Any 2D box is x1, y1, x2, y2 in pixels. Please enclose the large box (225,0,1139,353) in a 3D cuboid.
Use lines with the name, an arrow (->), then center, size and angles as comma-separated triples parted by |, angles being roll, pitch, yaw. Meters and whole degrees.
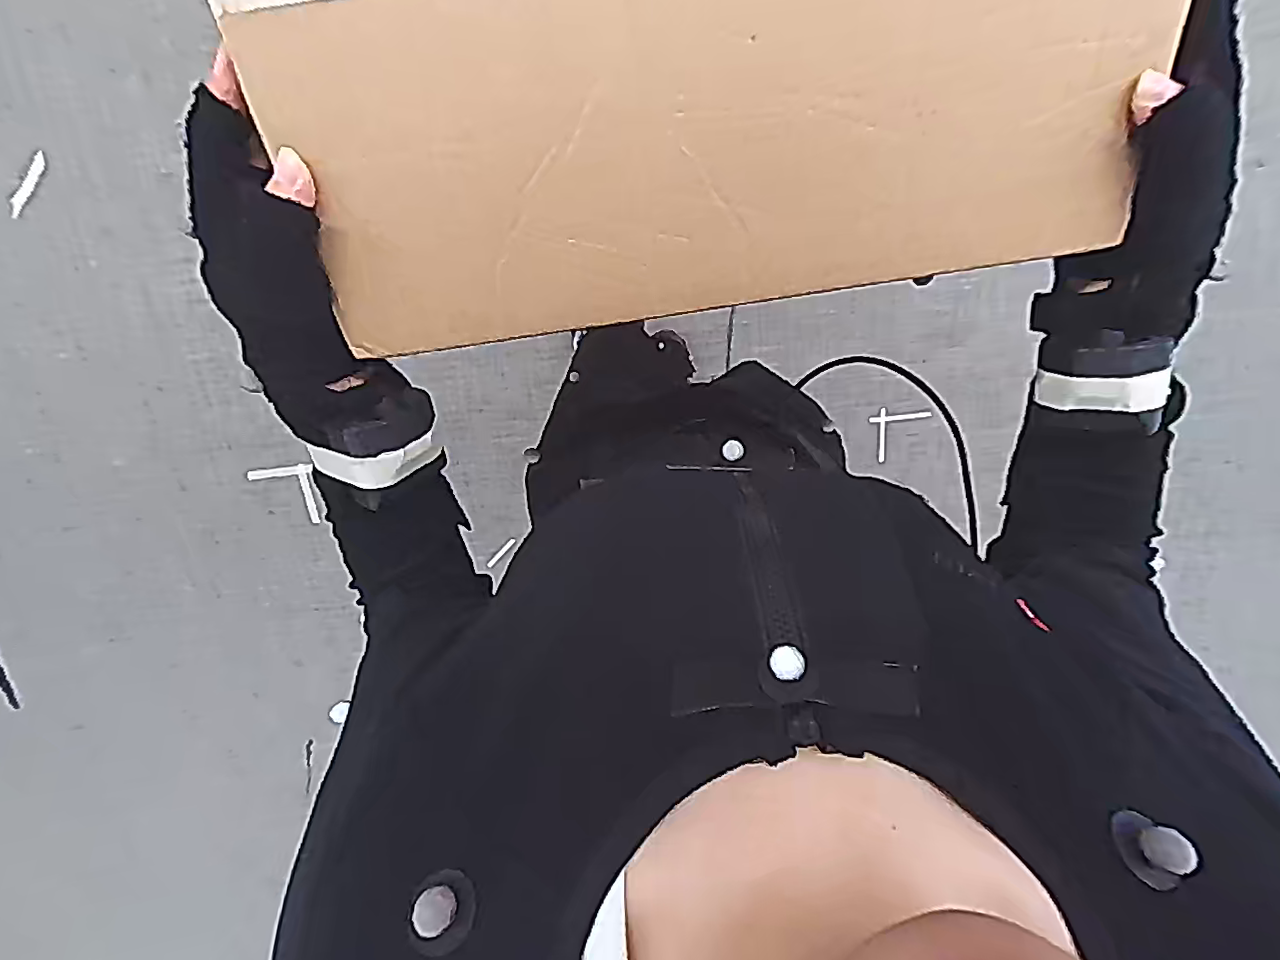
large box -> 0.015, -0.305, 0.351 | 0.408, 0.320, 0.320 | -8, 118, 2
